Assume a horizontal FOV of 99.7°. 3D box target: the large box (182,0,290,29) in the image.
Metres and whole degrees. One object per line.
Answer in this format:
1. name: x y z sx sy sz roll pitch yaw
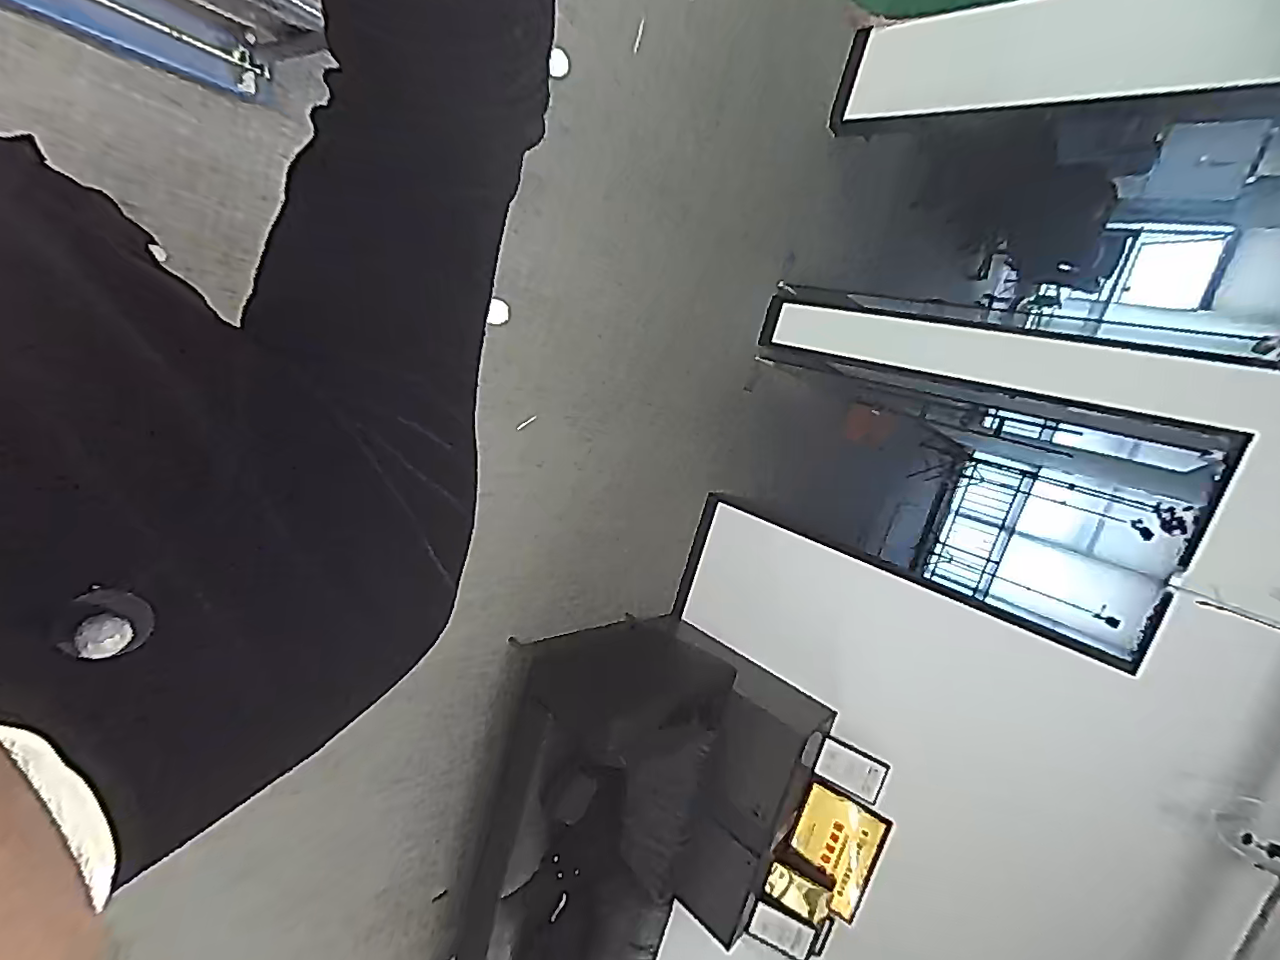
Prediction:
1. large box: -0.714 -0.997 0.794 0.320 0.320 0.408 -6 113 -50
